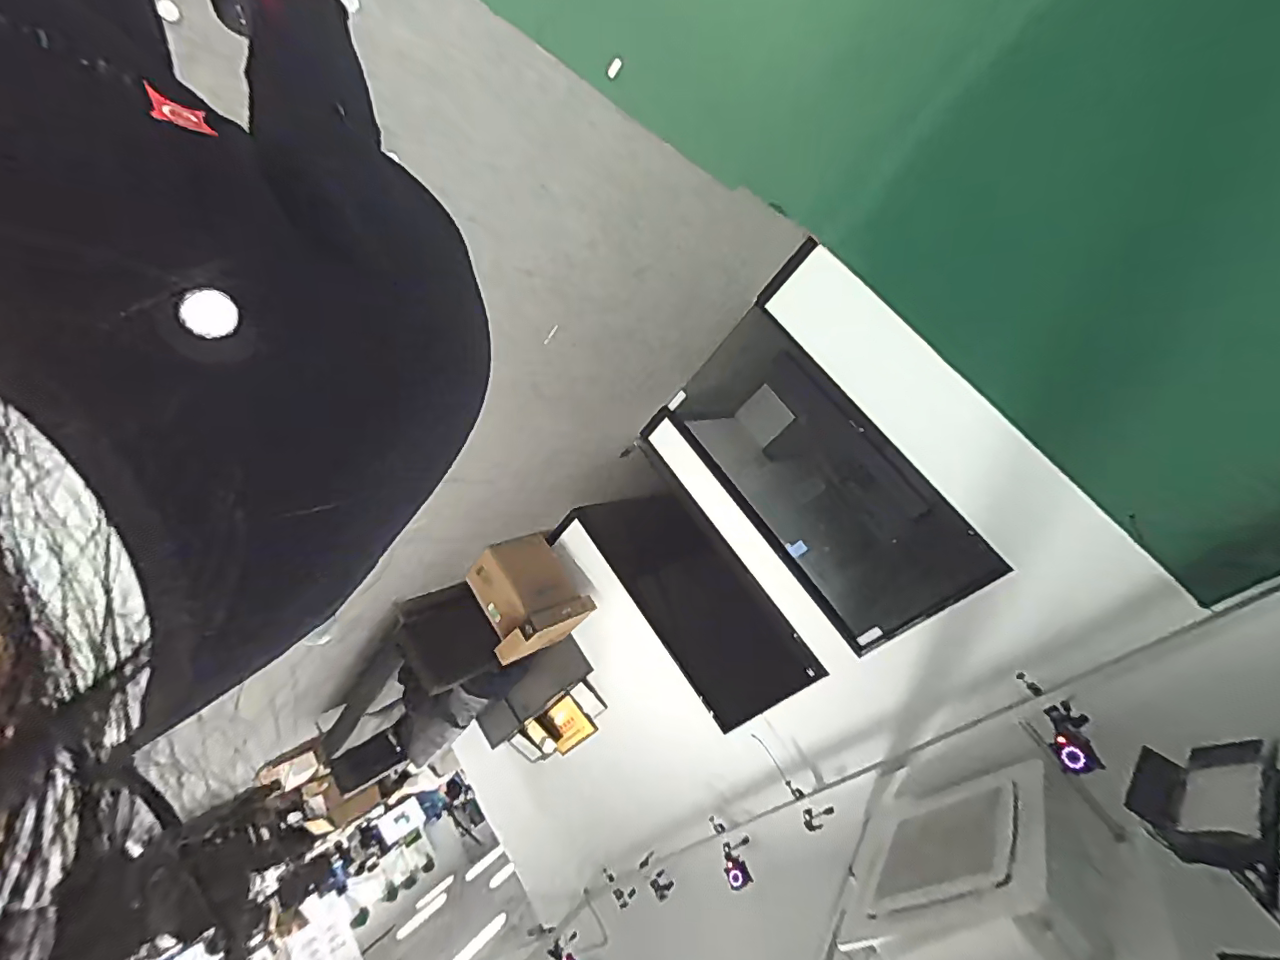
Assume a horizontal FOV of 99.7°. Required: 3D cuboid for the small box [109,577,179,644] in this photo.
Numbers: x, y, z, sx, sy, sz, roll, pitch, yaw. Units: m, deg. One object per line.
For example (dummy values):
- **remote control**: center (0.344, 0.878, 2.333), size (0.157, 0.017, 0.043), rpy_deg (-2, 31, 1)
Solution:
- **small box**: center (-1.943, 0.506, 2.114), size (0.168, 0.176, 0.179), rpy_deg (-14, 152, -53)
